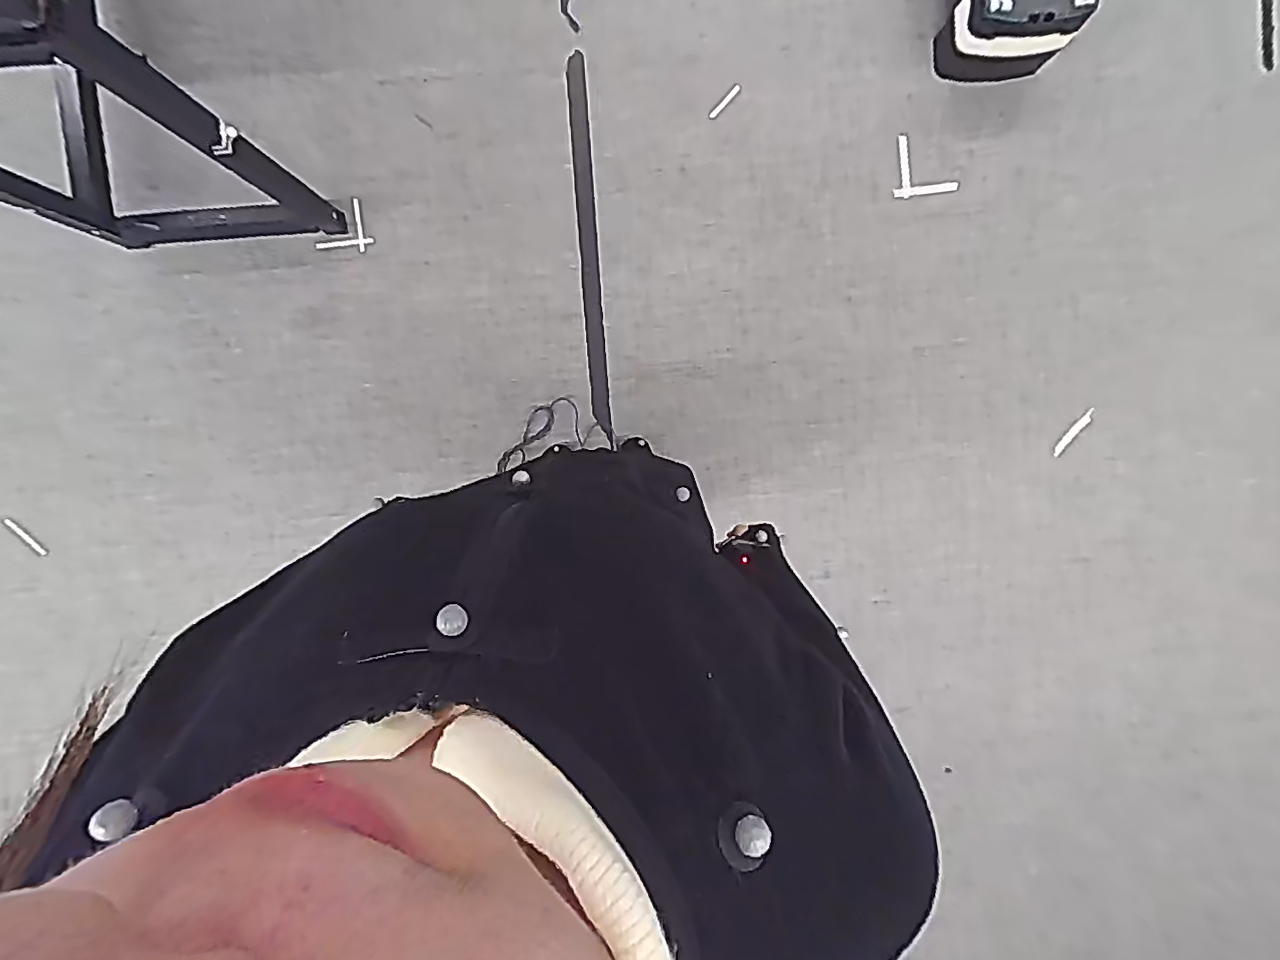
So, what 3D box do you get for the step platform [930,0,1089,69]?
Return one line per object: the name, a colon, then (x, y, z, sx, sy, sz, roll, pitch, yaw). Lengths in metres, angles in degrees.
step platform: (0.904, -1.407, 1.293, 0.286, 0.204, 0.684, 1, 94, -1)
